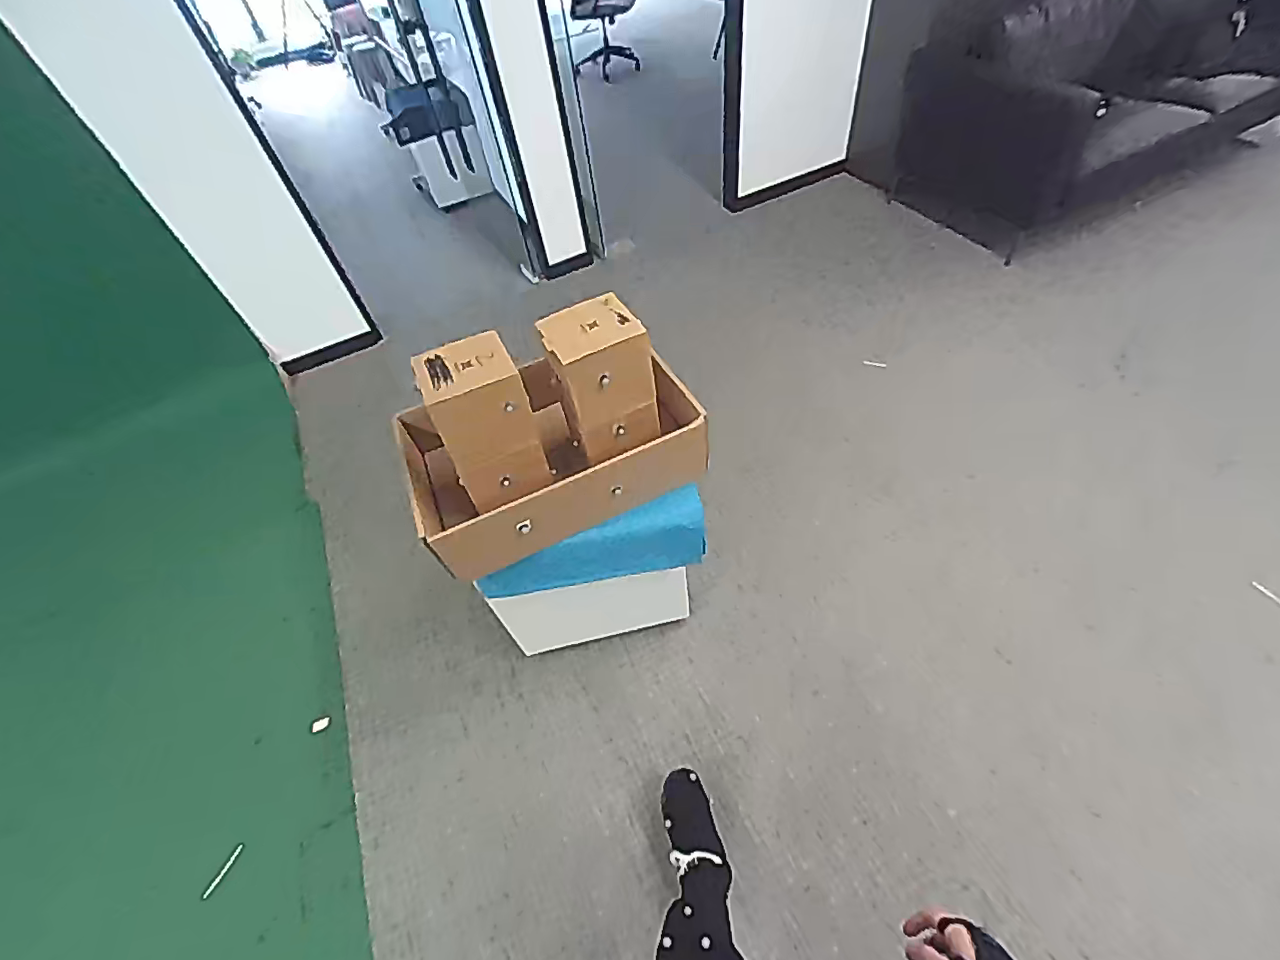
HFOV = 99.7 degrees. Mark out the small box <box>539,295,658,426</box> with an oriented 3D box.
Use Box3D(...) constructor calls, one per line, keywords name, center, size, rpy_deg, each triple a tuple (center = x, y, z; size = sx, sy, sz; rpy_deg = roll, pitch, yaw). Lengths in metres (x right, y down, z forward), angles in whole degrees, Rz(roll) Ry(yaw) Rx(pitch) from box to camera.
Box3D(name="small box", center=(-0.080, -0.239, 1.102), size=(0.179, 0.176, 0.168), rpy_deg=(-26, 52, -9))
